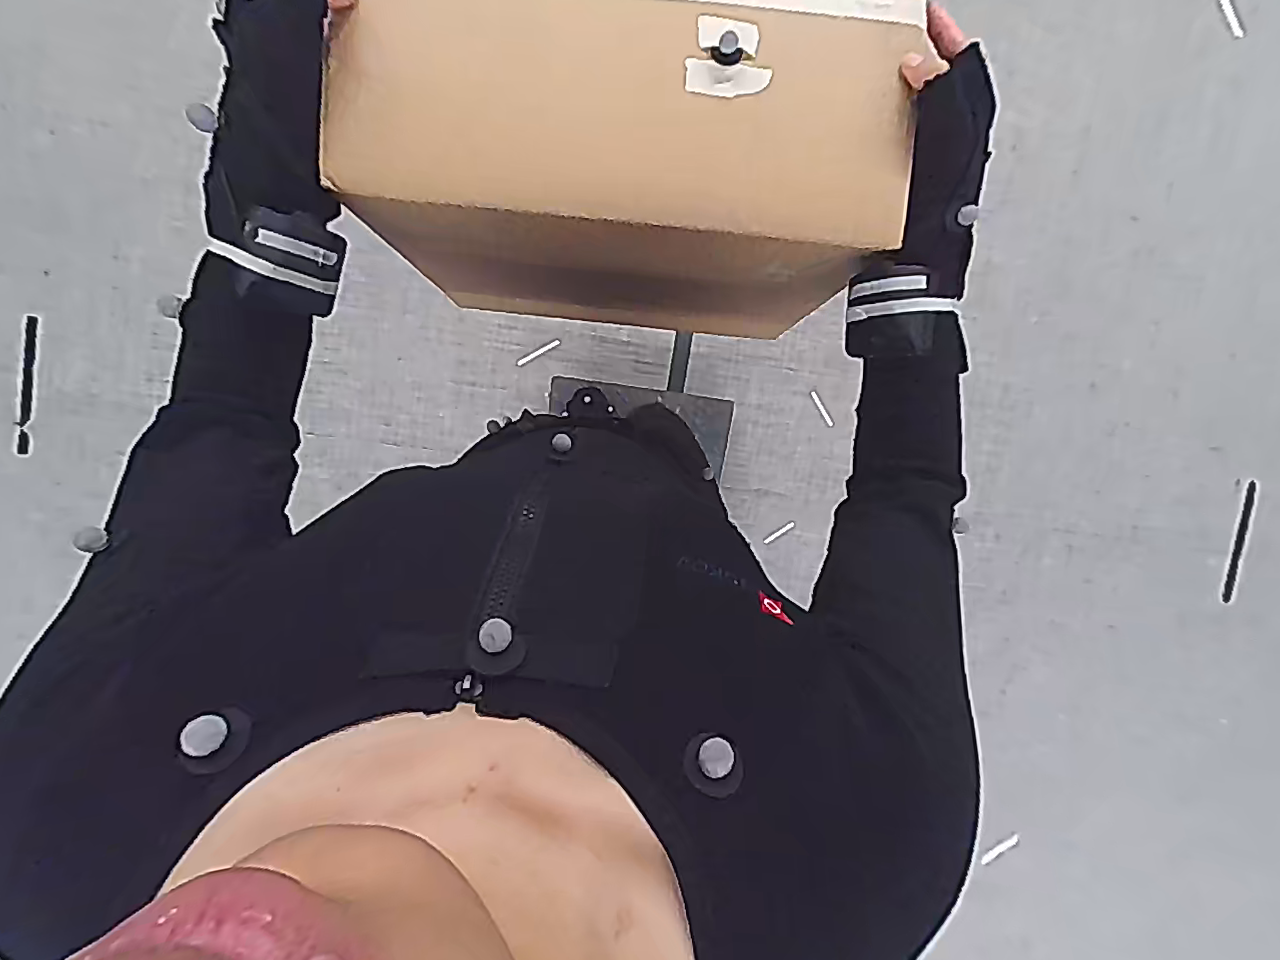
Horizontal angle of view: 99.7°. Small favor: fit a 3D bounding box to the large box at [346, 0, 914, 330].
[{"bbox_3d":[-0.008,-0.350,0.532,0.408,0.320,0.320,5,93,-3],"label":"large box"}]
